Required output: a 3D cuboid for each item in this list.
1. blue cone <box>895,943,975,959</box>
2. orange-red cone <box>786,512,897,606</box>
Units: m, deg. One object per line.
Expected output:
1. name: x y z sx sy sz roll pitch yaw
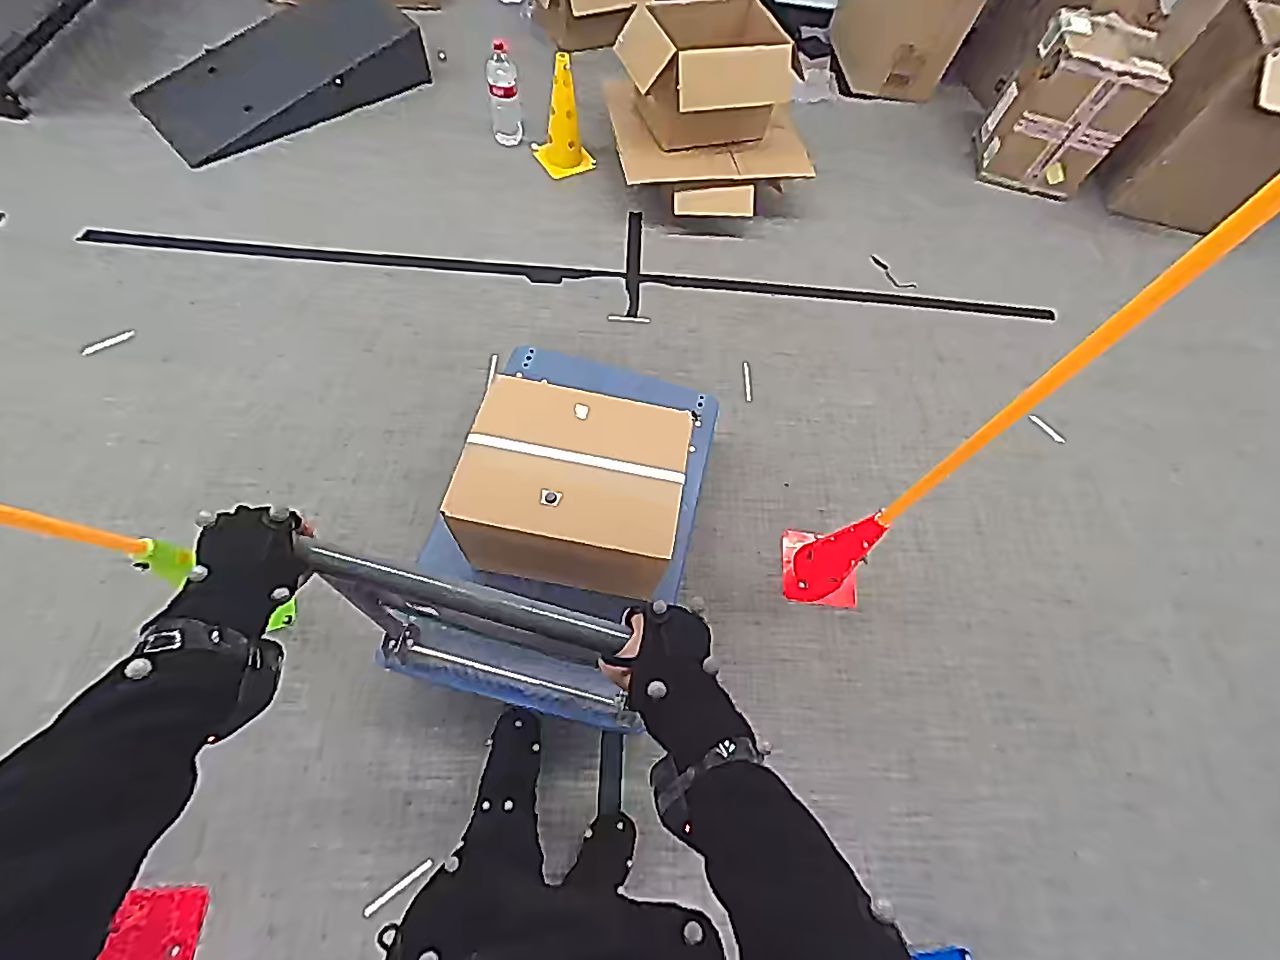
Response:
1. blue cone: 0.628 0.981 0.934 0.193 0.380 0.192 0 63 -7
2. orange-red cone: 0.513 0.159 1.309 0.199 0.360 0.198 9 64 -3
